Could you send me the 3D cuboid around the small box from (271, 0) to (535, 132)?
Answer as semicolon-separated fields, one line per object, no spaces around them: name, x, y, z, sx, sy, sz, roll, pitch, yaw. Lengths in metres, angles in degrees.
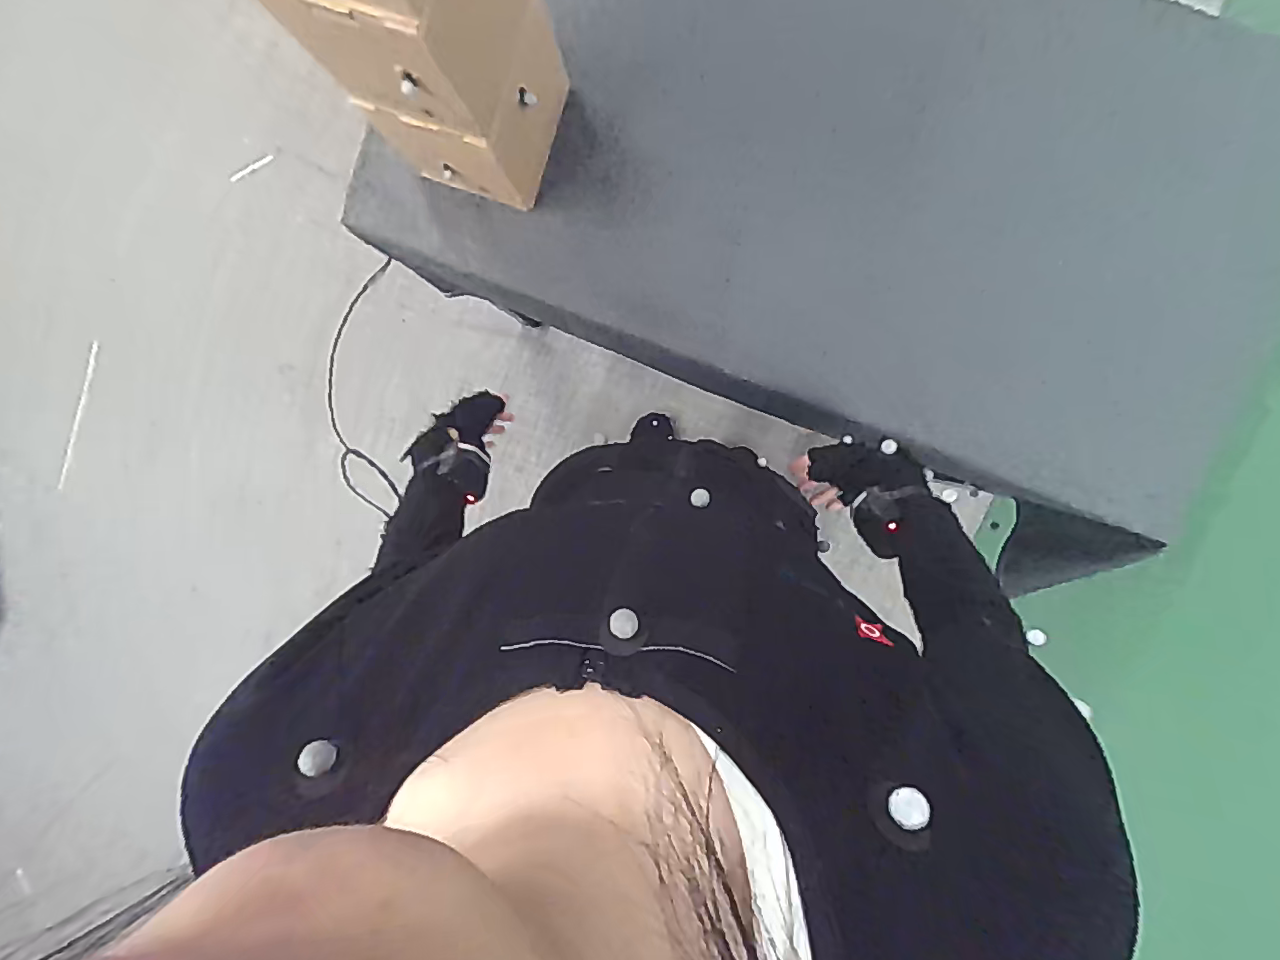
small box;-0.207;-0.460;0.486;0.168;0.176;0.179;21;96;1

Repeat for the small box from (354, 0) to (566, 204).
small box;-0.199;-0.472;0.648;0.168;0.176;0.179;20;97;2
